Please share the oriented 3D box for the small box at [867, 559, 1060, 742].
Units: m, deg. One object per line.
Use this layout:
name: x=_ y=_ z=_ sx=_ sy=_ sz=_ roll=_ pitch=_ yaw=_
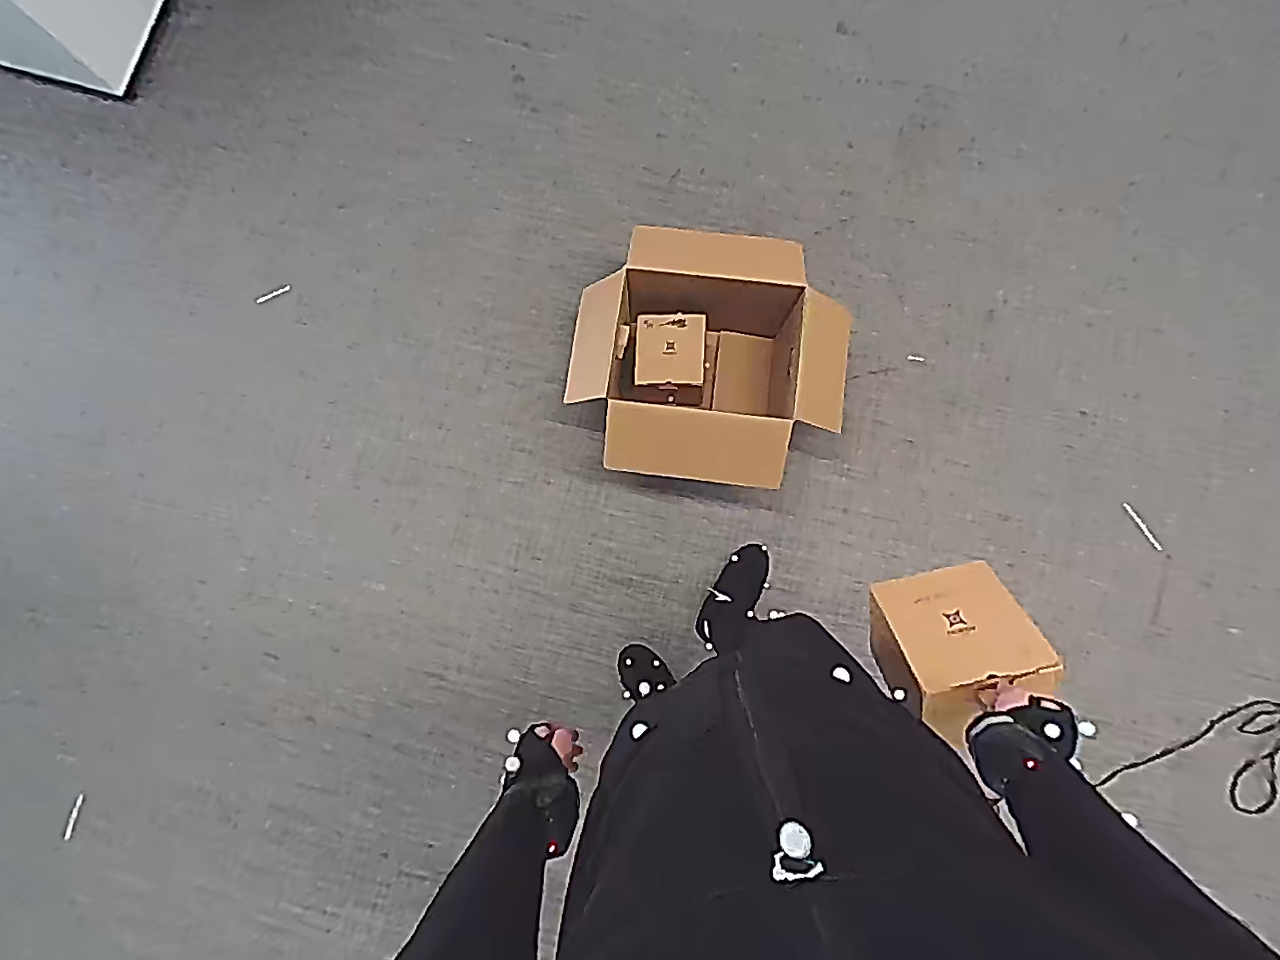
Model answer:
small box: x=0.433 y=0.243 z=0.756 sx=0.168 sy=0.179 sz=0.176 roll=-13 pitch=126 yaw=6
